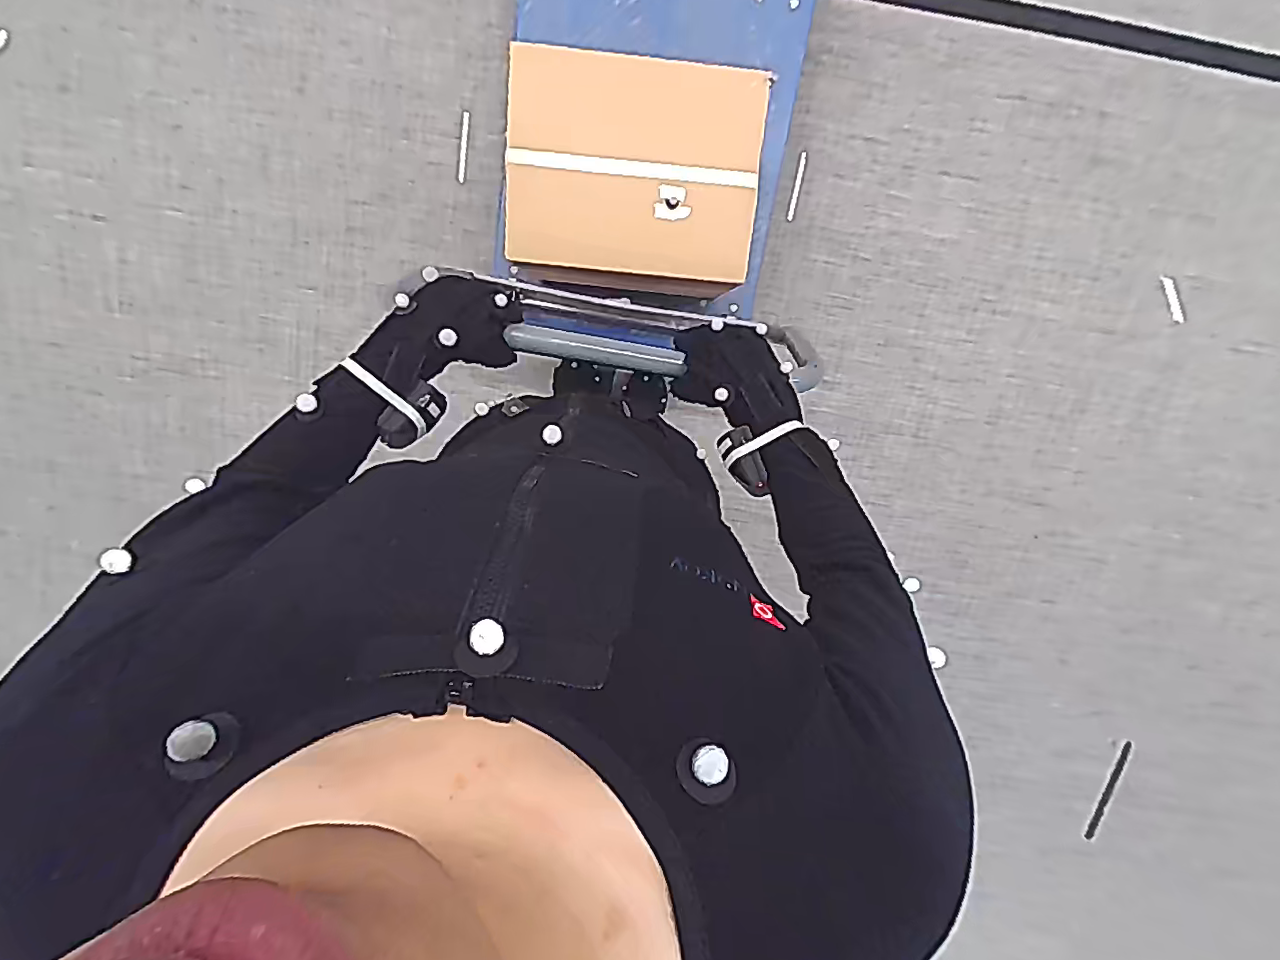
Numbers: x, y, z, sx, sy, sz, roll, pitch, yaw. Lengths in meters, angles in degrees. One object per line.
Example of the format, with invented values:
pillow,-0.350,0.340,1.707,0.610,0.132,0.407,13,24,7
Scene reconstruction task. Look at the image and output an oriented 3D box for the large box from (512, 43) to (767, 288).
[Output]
large box,-0.013,-0.551,1.021,0.408,0.320,0.320,4,105,-3
